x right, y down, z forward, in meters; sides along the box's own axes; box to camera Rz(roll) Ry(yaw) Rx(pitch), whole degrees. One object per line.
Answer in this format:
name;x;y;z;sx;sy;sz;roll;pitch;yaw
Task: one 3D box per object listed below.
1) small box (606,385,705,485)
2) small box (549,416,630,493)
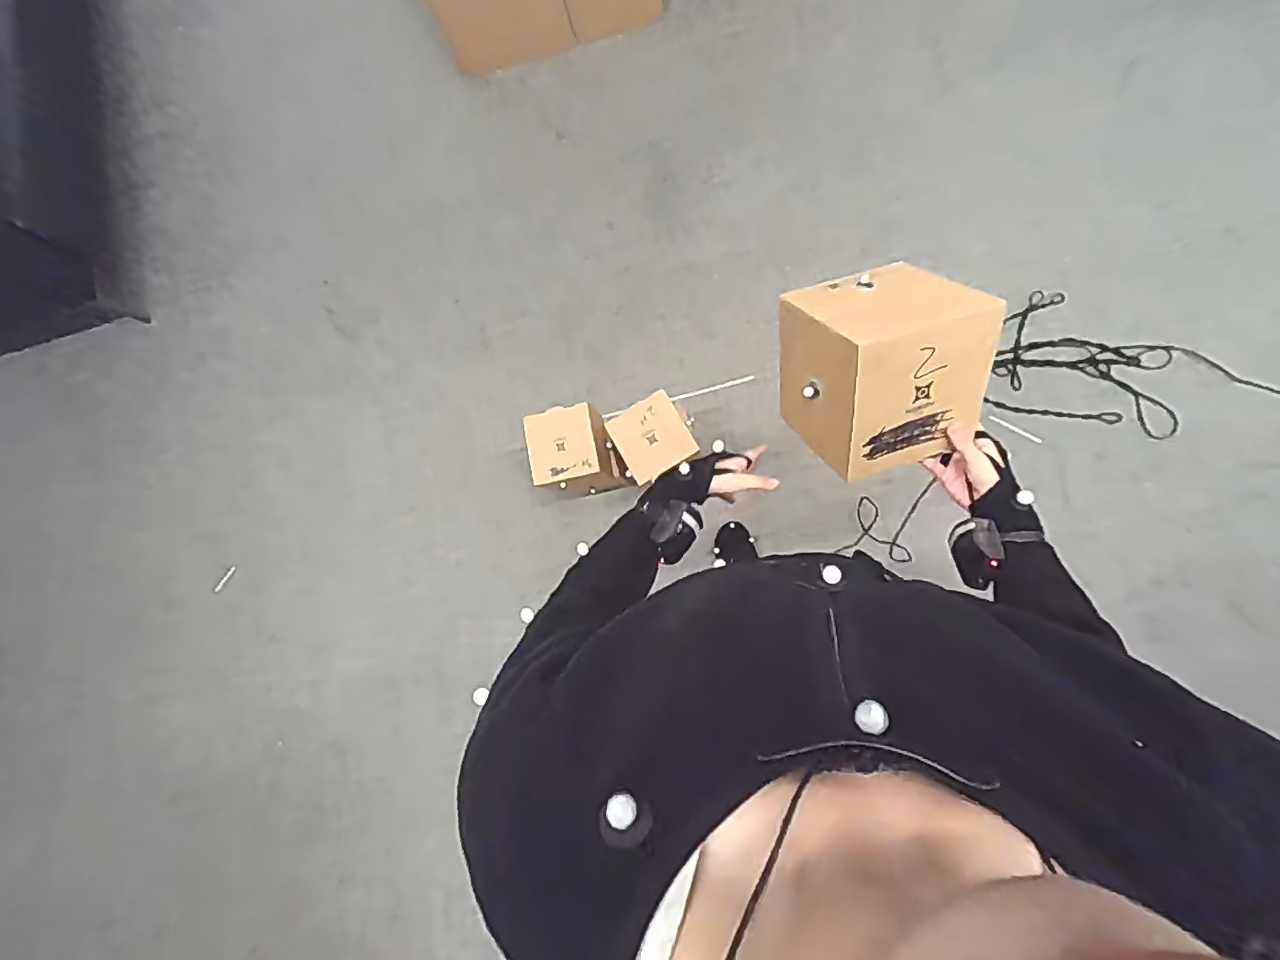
small box;0.046;-0.098;1.311;0.168;0.176;0.179;-31;79;6
small box;-0.133;-0.066;1.505;0.179;0.176;0.168;-14;81;9
